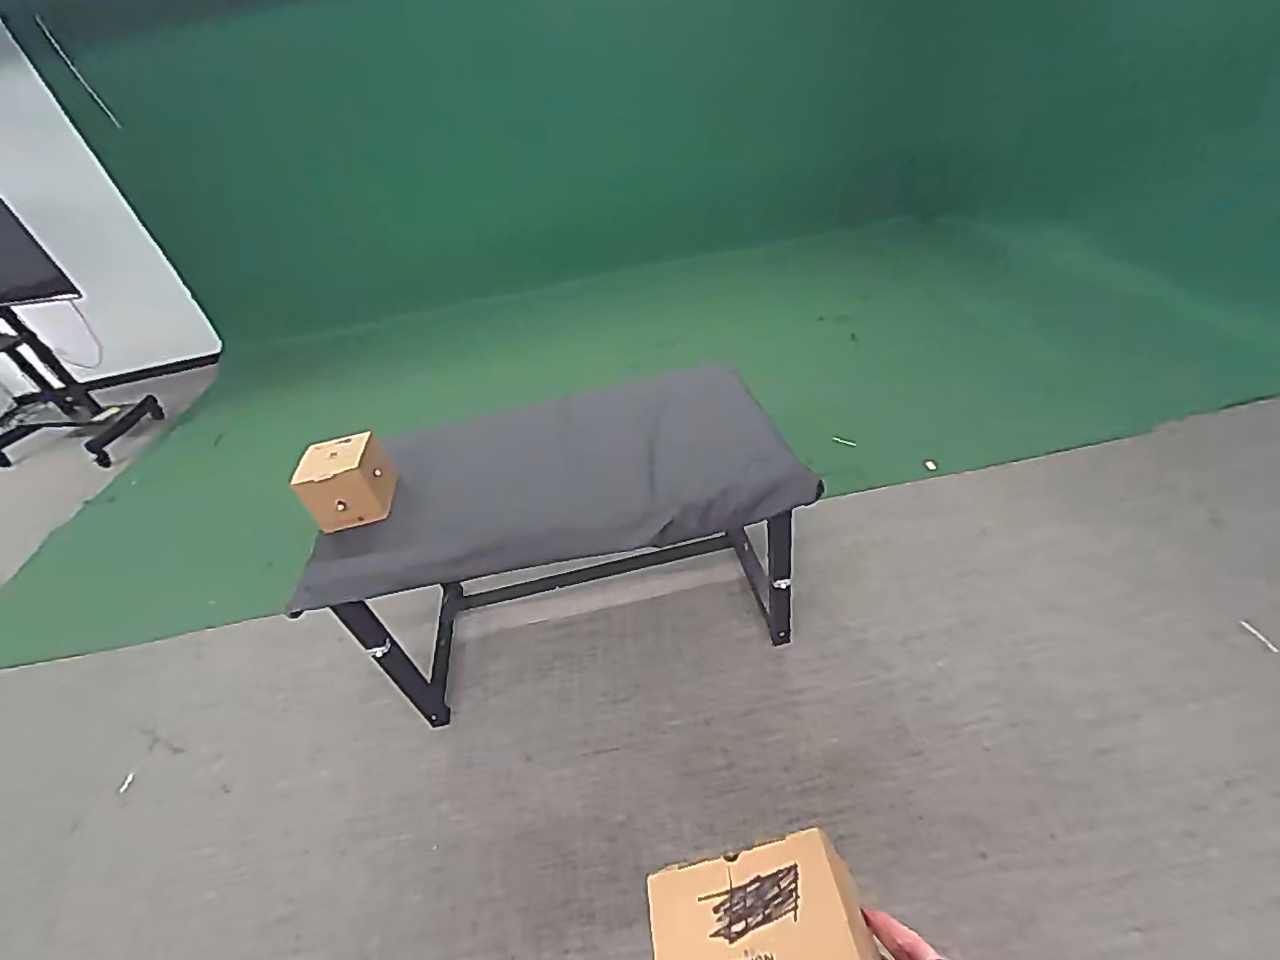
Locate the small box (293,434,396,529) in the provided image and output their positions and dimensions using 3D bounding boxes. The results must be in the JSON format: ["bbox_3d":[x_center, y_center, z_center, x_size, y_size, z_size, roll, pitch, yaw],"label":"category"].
[{"bbox_3d":[-0.758,0.011,1.409,0.168,0.176,0.179,-13,40,-4],"label":"small box"}]
